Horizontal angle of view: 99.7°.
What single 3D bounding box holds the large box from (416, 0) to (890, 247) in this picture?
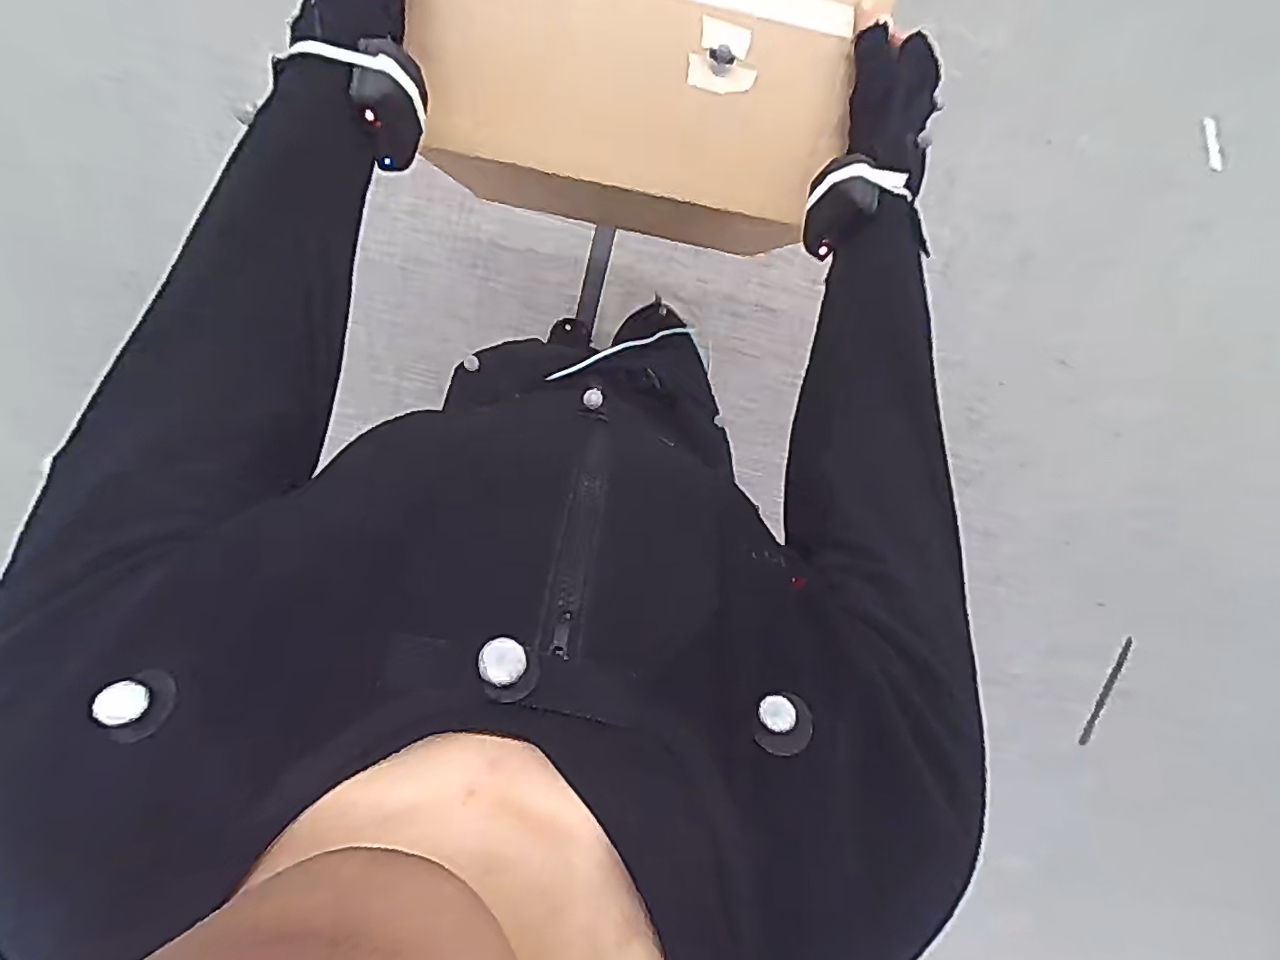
[{"bbox_3d":[0.007,-0.468,0.598,0.408,0.320,0.320,9,109,-7],"label":"large box"}]
